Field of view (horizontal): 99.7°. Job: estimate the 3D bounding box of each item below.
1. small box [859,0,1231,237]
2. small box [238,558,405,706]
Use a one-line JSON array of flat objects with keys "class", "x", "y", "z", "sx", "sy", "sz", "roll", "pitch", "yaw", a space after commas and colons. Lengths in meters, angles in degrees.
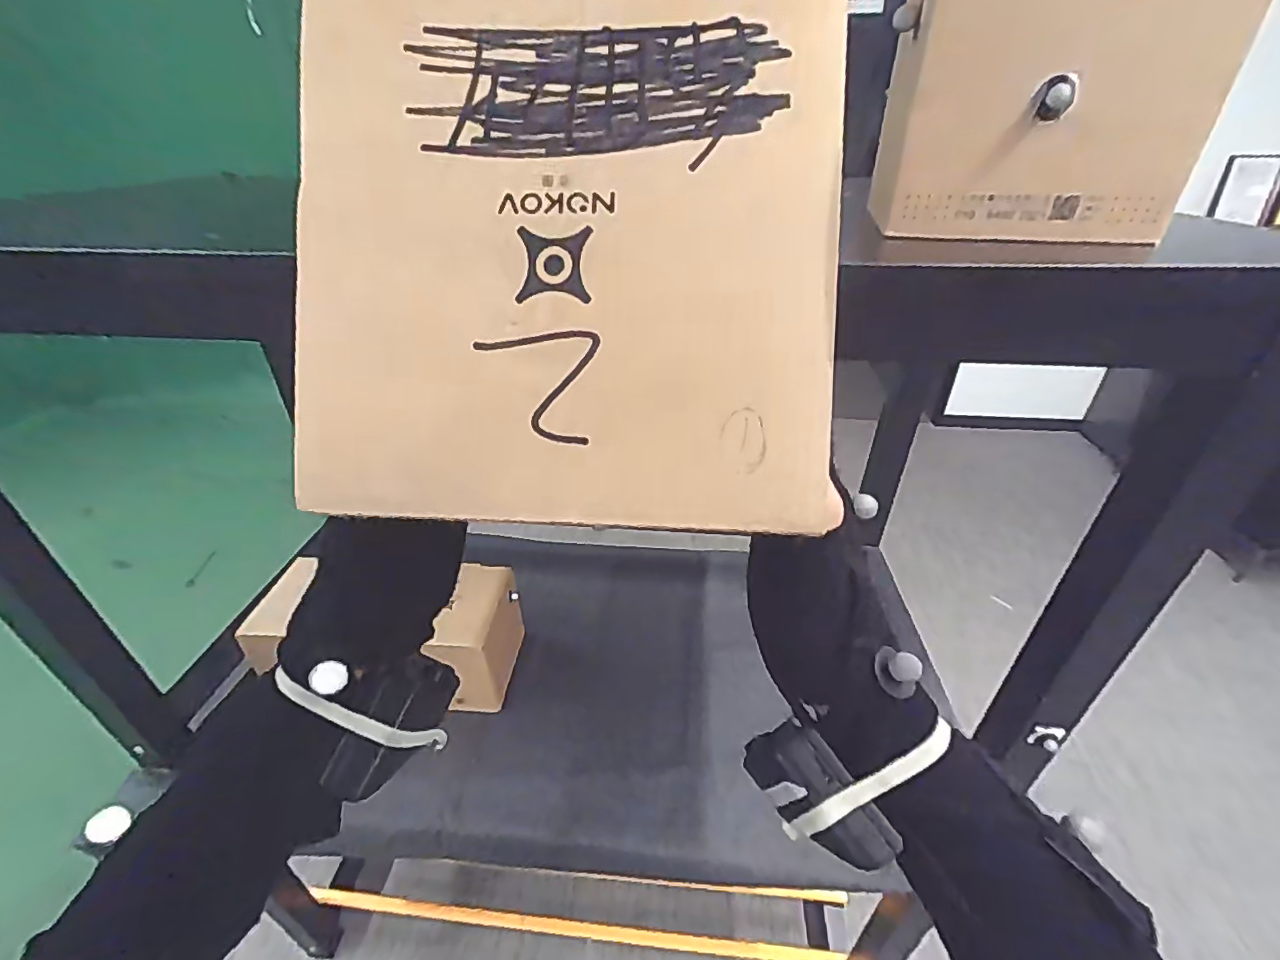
[{"class": "small box", "x": 0.261, "y": -0.276, "z": 0.385, "sx": 0.168, "sy": 0.176, "sz": 0.179, "roll": 8, "pitch": 34, "yaw": 13}, {"class": "small box", "x": -0.524, "y": 0.256, "z": 0.926, "sx": 0.168, "sy": 0.176, "sz": 0.179, "roll": 1, "pitch": 33, "yaw": 3}]
